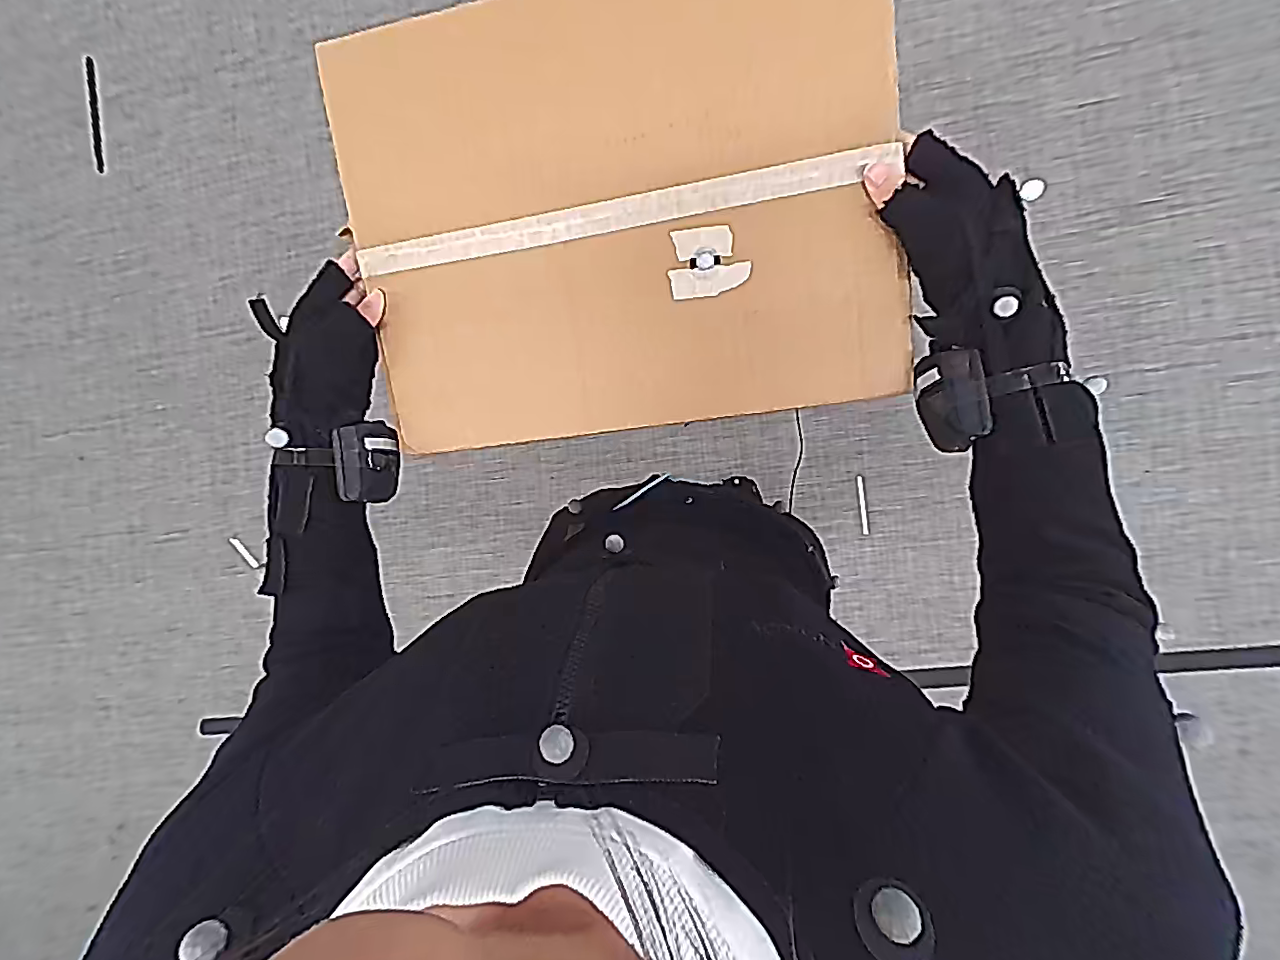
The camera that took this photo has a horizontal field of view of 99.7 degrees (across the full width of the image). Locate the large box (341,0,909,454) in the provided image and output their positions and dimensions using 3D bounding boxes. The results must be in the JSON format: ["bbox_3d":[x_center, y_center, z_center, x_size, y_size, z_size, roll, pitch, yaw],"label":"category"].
[{"bbox_3d":[0.002,-0.223,0.554,0.408,0.320,0.320,-7,100,9],"label":"large box"}]
